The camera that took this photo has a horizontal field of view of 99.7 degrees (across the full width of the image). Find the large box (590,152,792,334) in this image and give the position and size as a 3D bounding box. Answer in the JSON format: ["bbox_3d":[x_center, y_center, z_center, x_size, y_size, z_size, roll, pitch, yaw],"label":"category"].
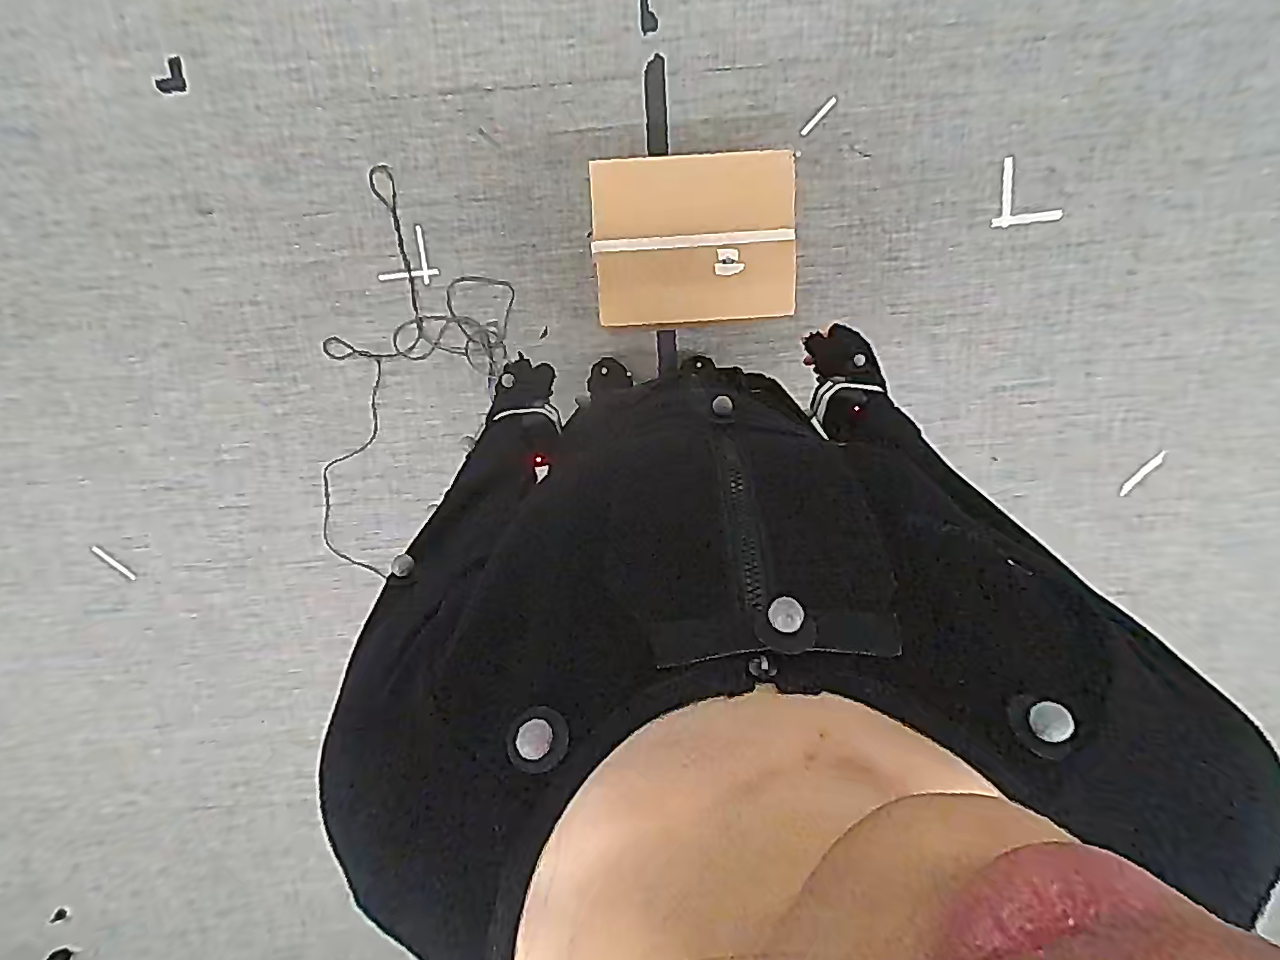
[{"bbox_3d":[0.105,-0.516,1.245,0.408,0.320,0.320,-4,103,-1],"label":"large box"}]
